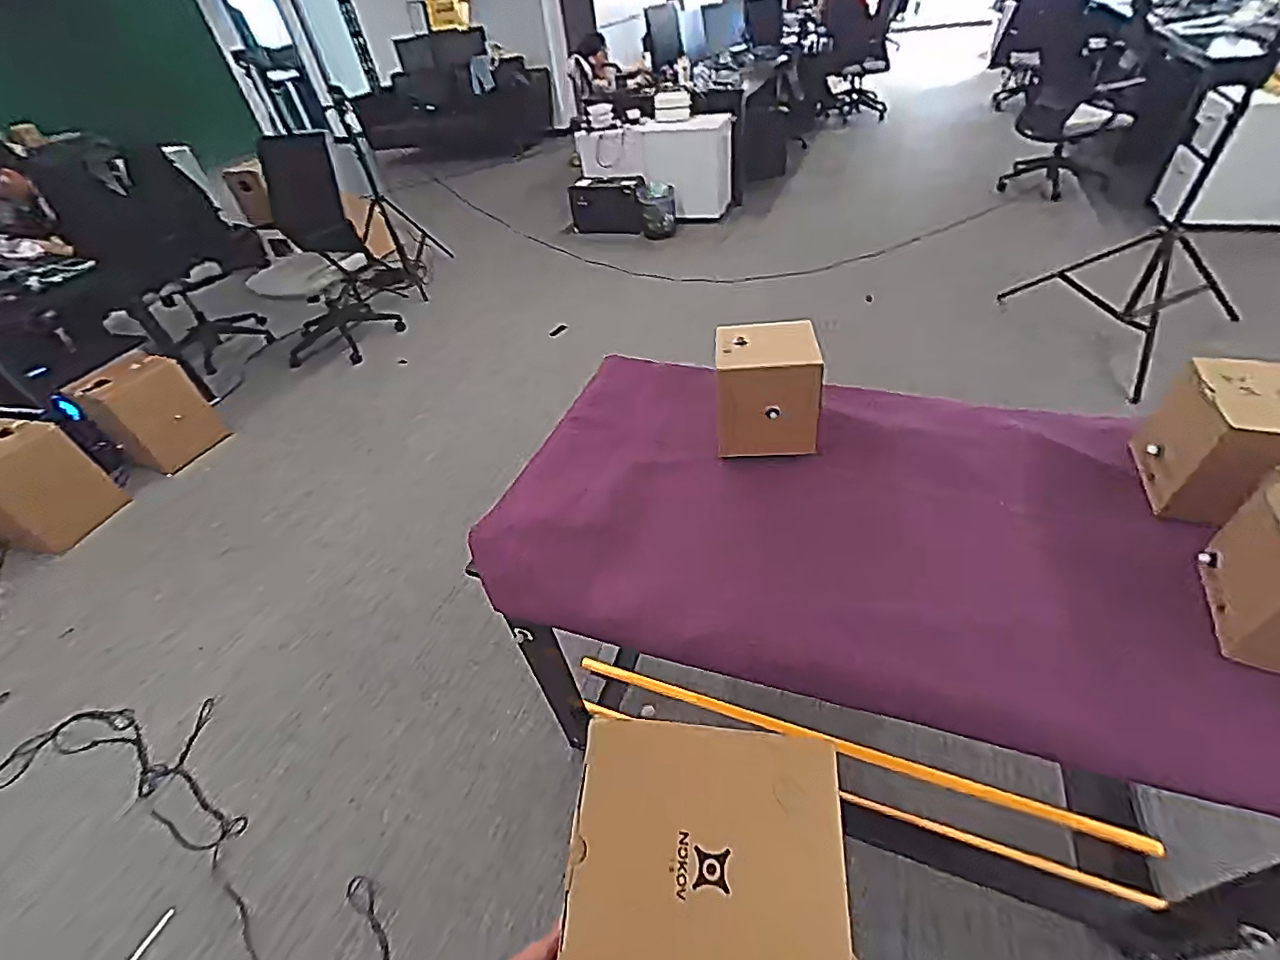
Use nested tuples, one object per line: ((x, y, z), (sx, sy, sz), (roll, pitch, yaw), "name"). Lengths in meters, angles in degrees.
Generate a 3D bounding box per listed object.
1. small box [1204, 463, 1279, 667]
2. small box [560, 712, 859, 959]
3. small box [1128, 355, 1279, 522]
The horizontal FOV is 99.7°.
((0.776, 0.110, 0.590), (0.179, 0.176, 0.168), (15, 47, 23), "small box")
((0.051, 0.284, 0.408), (0.179, 0.176, 0.168), (1, 57, 8), "small box")
((0.840, -0.051, 0.750), (0.179, 0.176, 0.168), (10, 47, 19), "small box")
